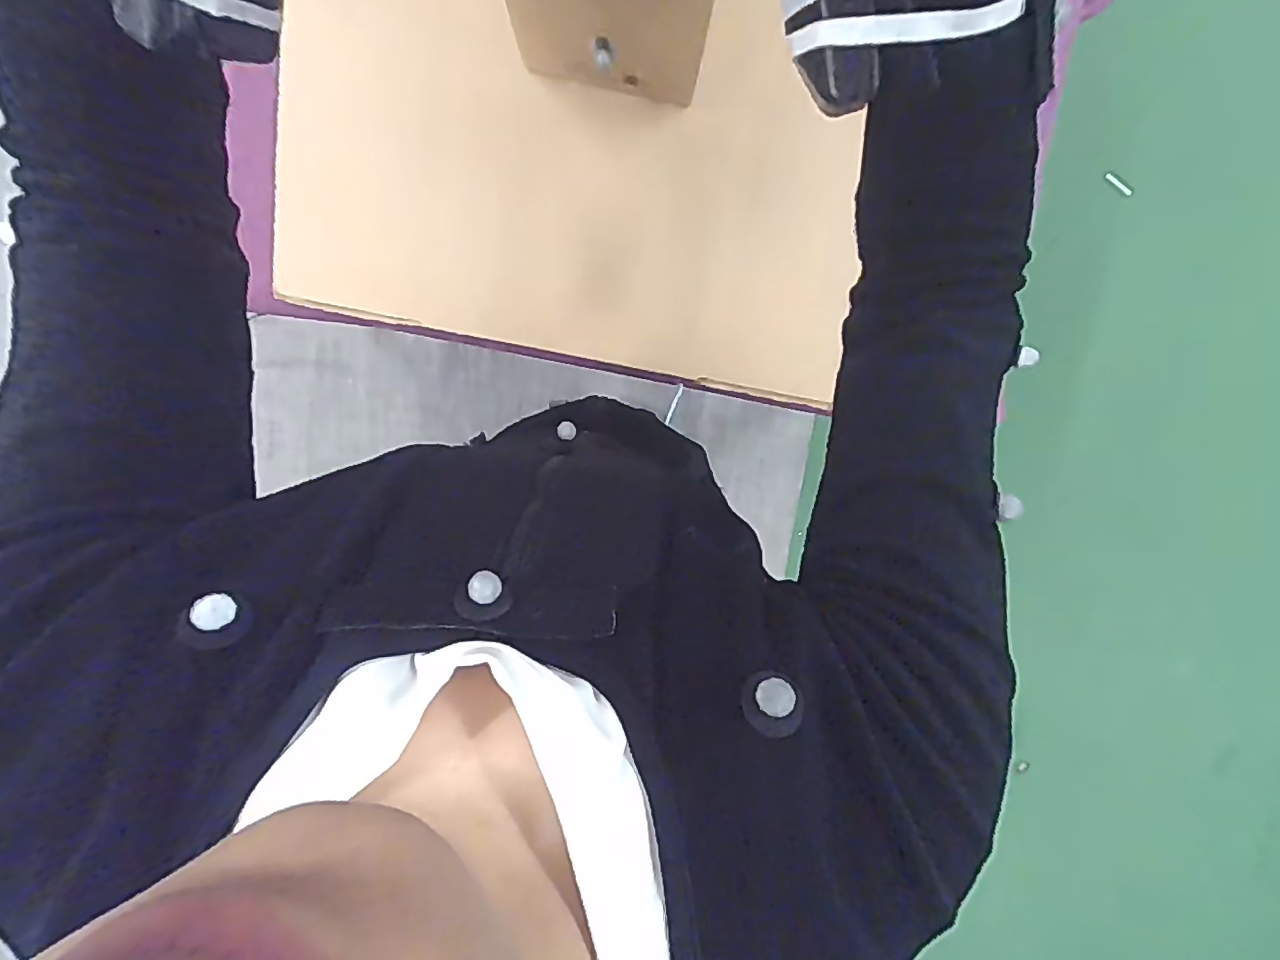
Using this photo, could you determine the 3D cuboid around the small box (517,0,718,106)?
[{"bbox_3d":[-0.009,-0.450,0.430,0.168,0.176,0.179,11,96,-3],"label":"small box"}]
